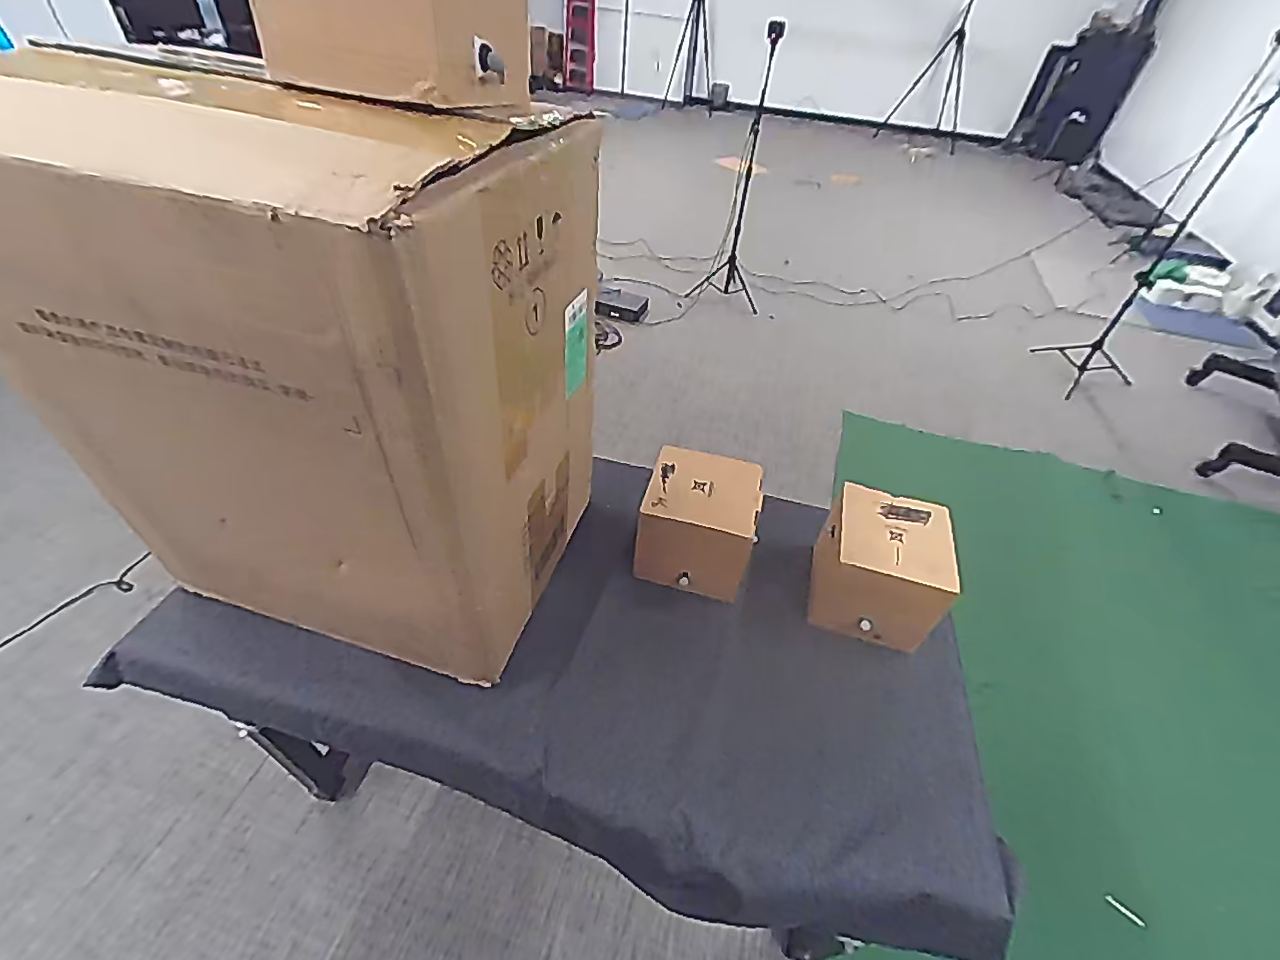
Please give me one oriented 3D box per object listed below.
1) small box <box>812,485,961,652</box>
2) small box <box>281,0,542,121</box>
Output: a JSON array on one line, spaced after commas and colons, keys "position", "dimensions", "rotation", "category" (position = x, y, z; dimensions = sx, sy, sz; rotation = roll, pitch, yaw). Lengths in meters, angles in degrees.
[{"position": [0.386, 0.142, 0.875], "dimensions": [0.168, 0.176, 0.179], "rotation": [15, 45, 10], "category": "small box"}, {"position": [-0.201, -0.436, 0.488], "dimensions": [0.179, 0.176, 0.168], "rotation": [16, 39, 8], "category": "small box"}]
